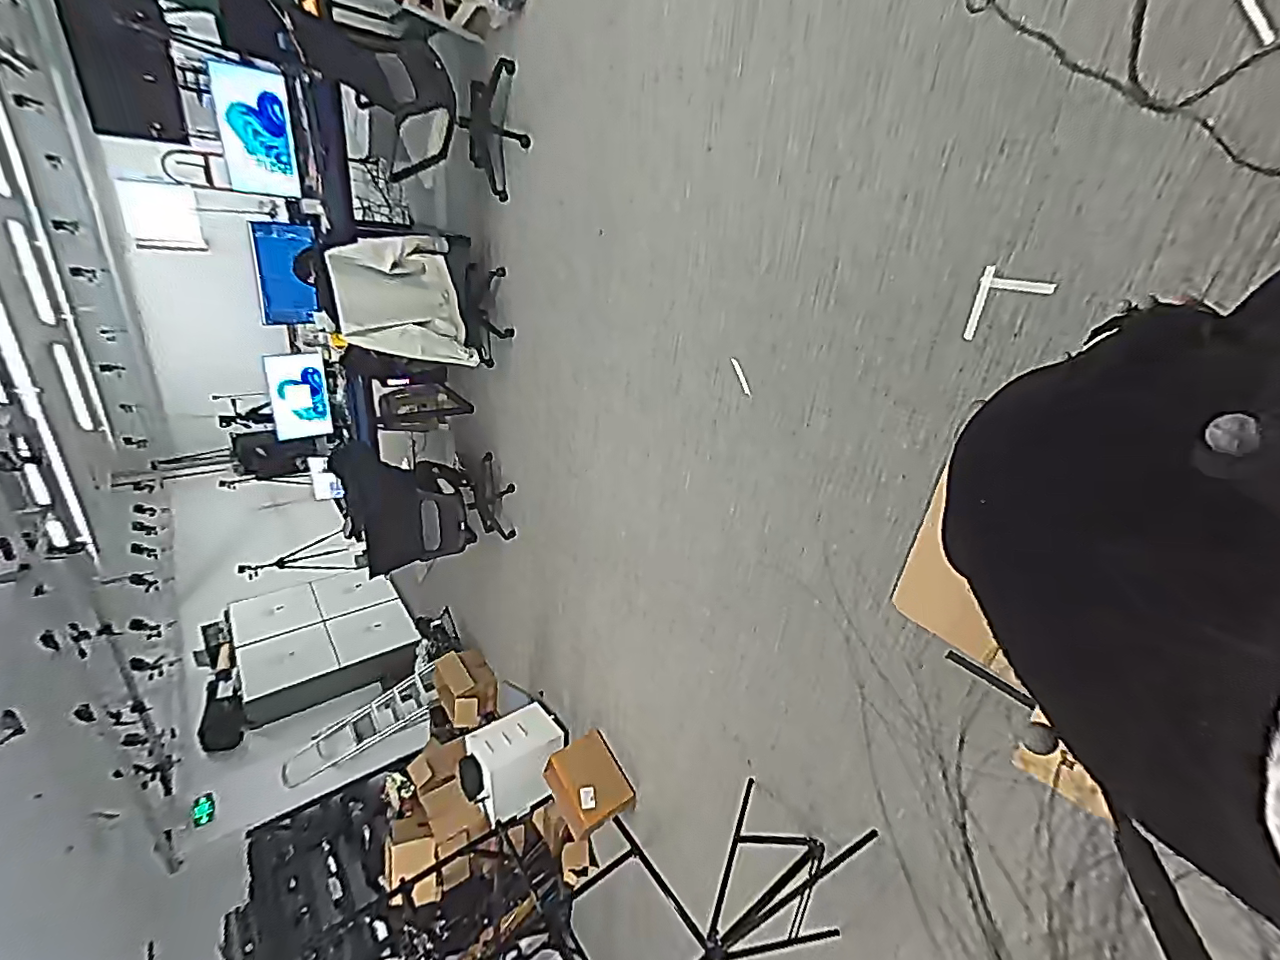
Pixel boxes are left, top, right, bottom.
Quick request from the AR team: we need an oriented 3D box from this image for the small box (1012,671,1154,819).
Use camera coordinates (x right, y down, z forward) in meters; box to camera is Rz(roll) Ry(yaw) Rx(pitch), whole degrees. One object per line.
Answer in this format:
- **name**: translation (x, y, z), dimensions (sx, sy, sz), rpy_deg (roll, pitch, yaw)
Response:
- **small box**: translation (0.909, 0.532, 1.108), dimensions (0.168, 0.176, 0.179), rpy_deg (27, 122, 44)
